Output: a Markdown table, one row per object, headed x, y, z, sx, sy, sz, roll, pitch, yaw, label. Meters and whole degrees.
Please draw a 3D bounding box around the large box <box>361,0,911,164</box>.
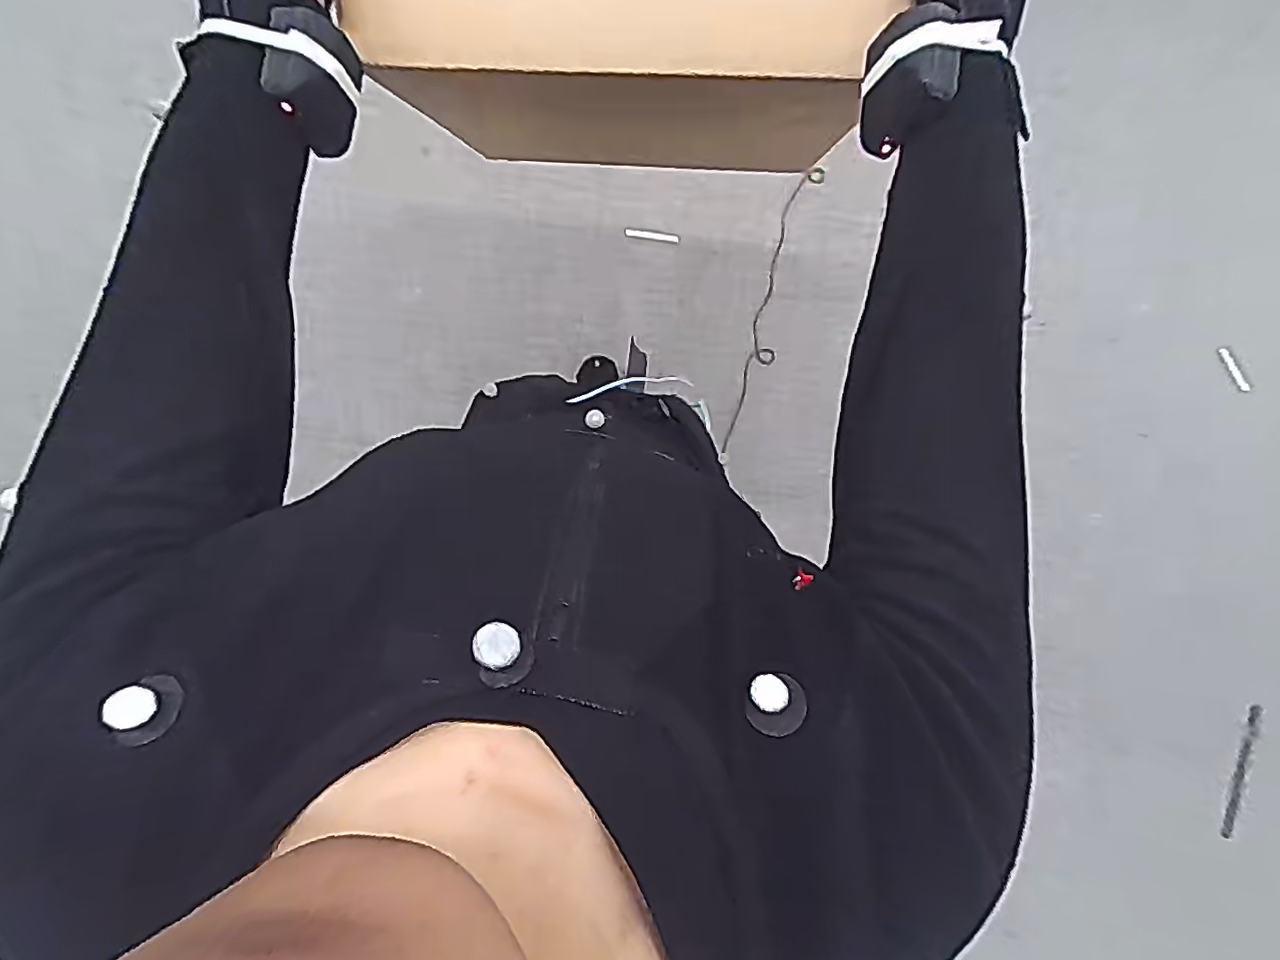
| x | y | z | sx | sy | sz | roll | pitch | yaw | label |
| --- | --- | --- | --- | --- | --- | --- | --- | --- | --- |
| 0.003 | -0.497 | 0.492 | 0.408 | 0.320 | 0.320 | 3 | 110 | 2 | large box |
